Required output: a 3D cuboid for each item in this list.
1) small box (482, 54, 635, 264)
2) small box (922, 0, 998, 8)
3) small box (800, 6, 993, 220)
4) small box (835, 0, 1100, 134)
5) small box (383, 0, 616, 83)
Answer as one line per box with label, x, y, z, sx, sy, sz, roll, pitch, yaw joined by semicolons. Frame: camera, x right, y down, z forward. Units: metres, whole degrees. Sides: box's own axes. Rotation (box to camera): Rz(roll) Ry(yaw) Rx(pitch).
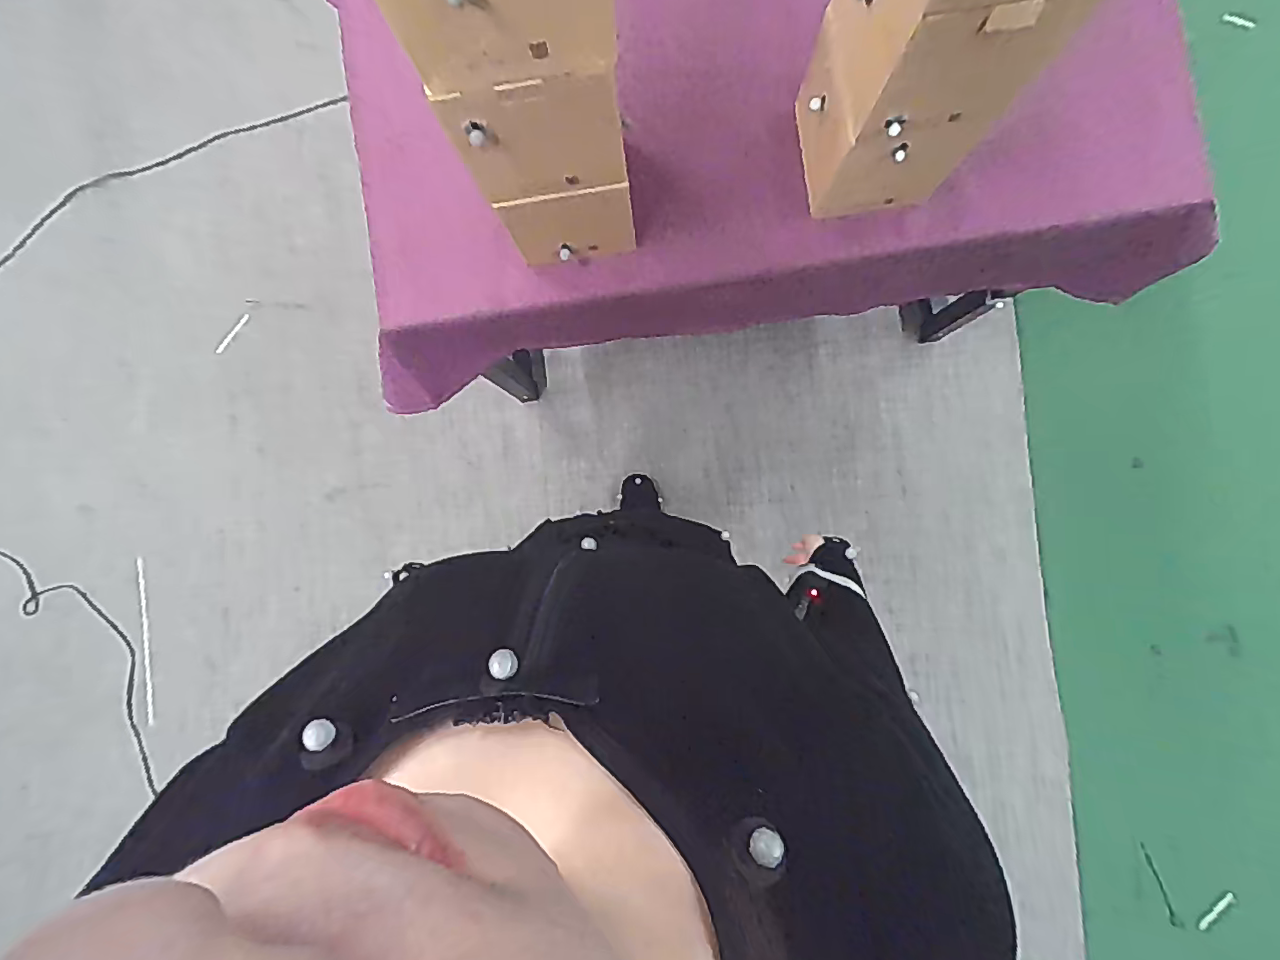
small box;-0.099;-0.415;0.721;0.168;0.176;0.179;-7;89;3
small box;0.307;-0.481;0.376;0.179;0.176;0.168;-7;89;2
small box;0.317;-0.475;0.705;0.168;0.176;0.179;-8;87;3
small box;0.311;-0.481;0.541;0.168;0.176;0.179;-8;87;2
small box;-0.112;-0.431;0.394;0.168;0.176;0.179;-6;86;3
